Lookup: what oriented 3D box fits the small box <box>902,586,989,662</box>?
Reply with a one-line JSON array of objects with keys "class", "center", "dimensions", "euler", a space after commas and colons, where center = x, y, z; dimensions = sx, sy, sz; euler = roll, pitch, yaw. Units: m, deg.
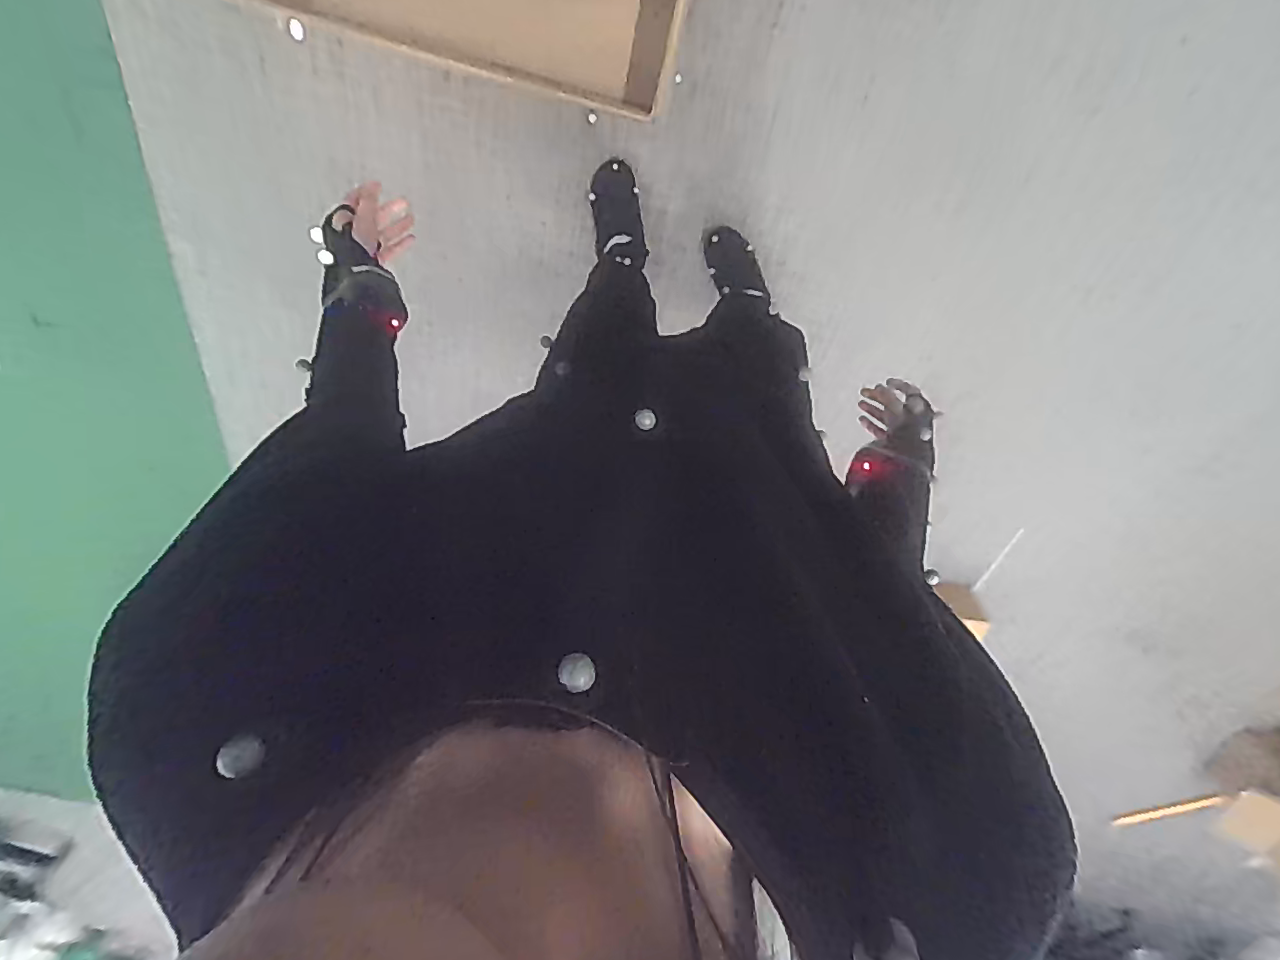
[{"class": "small box", "center": [0.992, 0.467, 1.777], "dimensions": [0.179, 0.176, 0.168], "euler": [7, 123, 1]}]

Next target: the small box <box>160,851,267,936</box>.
[{"class": "small box", "center": [-1.316, 1.290, 1.690], "dimensions": [0.179, 0.176, 0.168], "euler": [-3, 124, 8]}]
